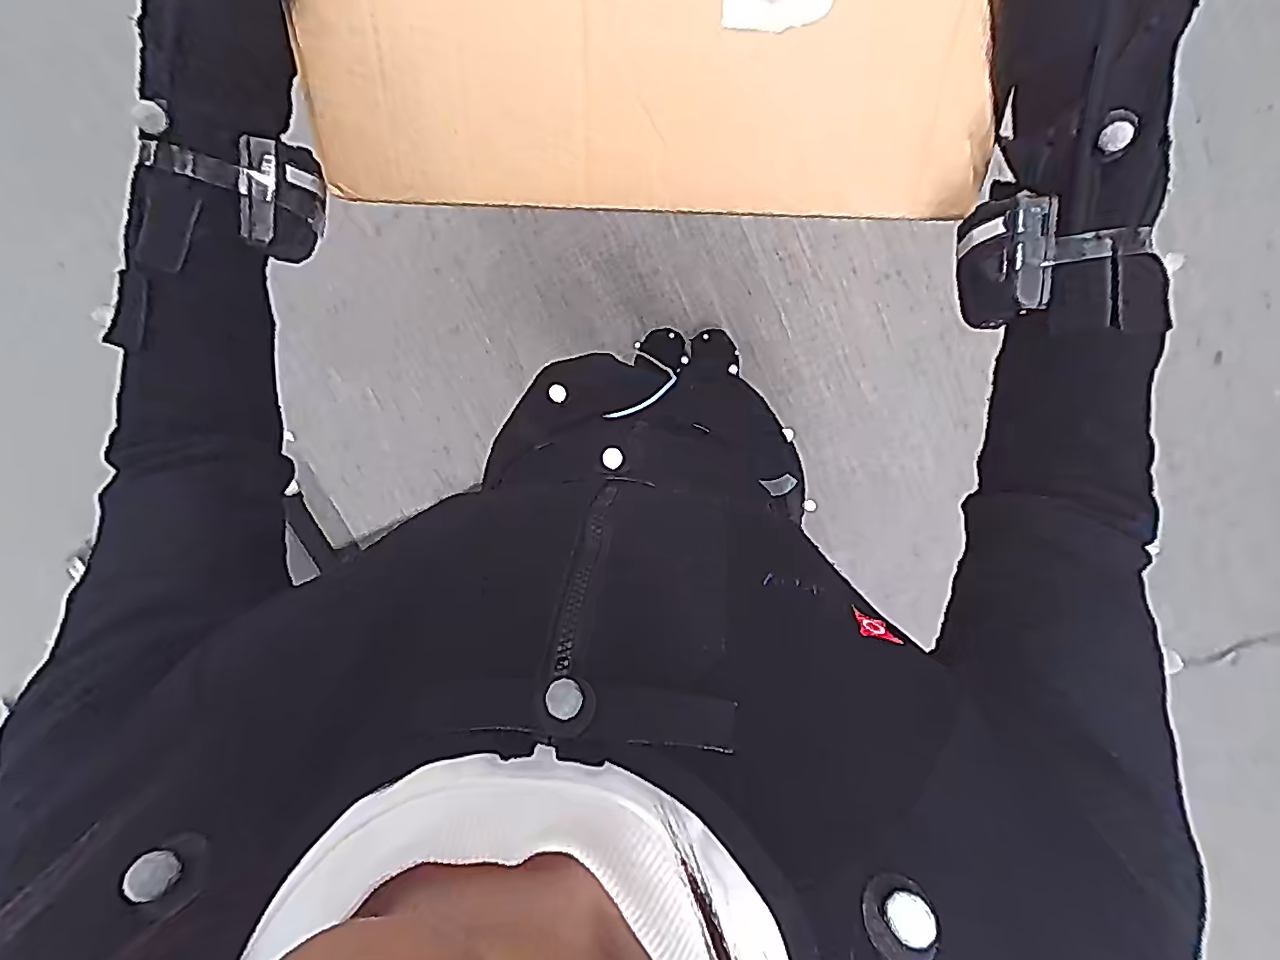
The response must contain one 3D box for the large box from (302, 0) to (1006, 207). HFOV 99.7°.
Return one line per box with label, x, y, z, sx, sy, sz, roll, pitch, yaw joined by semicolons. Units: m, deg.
large box;0.009;-0.390;0.407;0.408;0.320;0.320;1;120;2
